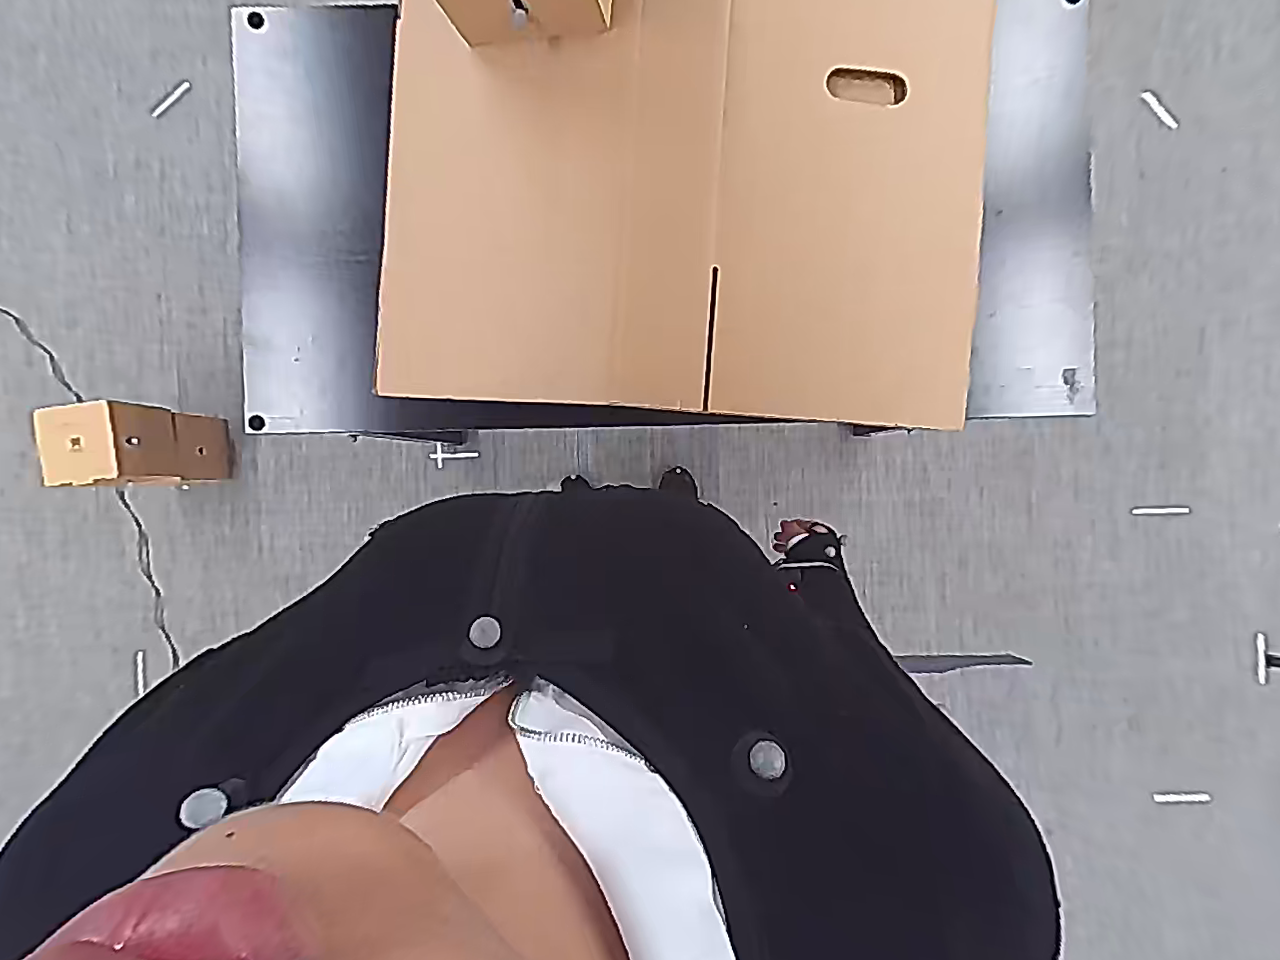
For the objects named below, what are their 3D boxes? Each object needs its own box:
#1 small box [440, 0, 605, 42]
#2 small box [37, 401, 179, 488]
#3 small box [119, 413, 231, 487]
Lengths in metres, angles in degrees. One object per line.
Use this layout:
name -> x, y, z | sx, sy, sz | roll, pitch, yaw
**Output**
small box -> -0.127, -0.577, 0.529 | 0.179, 0.176, 0.168 | 5, 90, 13
small box -> -1.231, -0.081, 1.267 | 0.168, 0.176, 0.179 | -8, 90, 0
small box -> -1.229, -0.076, 1.429 | 0.168, 0.176, 0.179 | -5, 91, 1
